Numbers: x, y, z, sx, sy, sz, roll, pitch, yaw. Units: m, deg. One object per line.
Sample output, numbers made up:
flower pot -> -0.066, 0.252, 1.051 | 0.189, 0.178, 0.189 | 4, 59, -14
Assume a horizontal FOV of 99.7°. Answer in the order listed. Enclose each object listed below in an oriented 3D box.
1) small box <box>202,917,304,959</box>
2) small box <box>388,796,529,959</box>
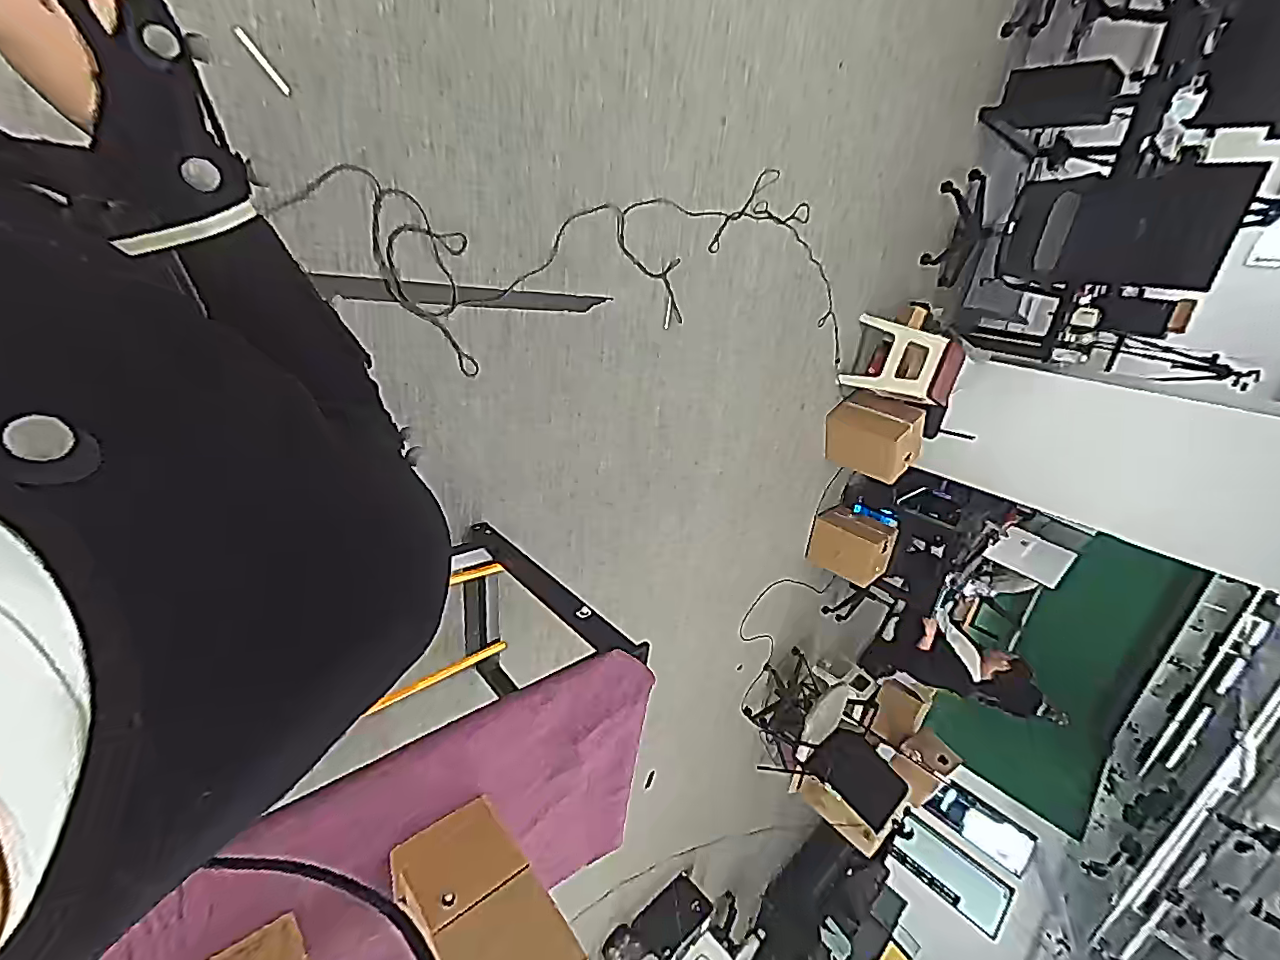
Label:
small box -> -0.544, 0.762, 0.734 | 0.168, 0.176, 0.179 | -12, 118, -43
small box -> -0.318, 0.704, 0.945 | 0.179, 0.176, 0.168 | -13, 120, -42
